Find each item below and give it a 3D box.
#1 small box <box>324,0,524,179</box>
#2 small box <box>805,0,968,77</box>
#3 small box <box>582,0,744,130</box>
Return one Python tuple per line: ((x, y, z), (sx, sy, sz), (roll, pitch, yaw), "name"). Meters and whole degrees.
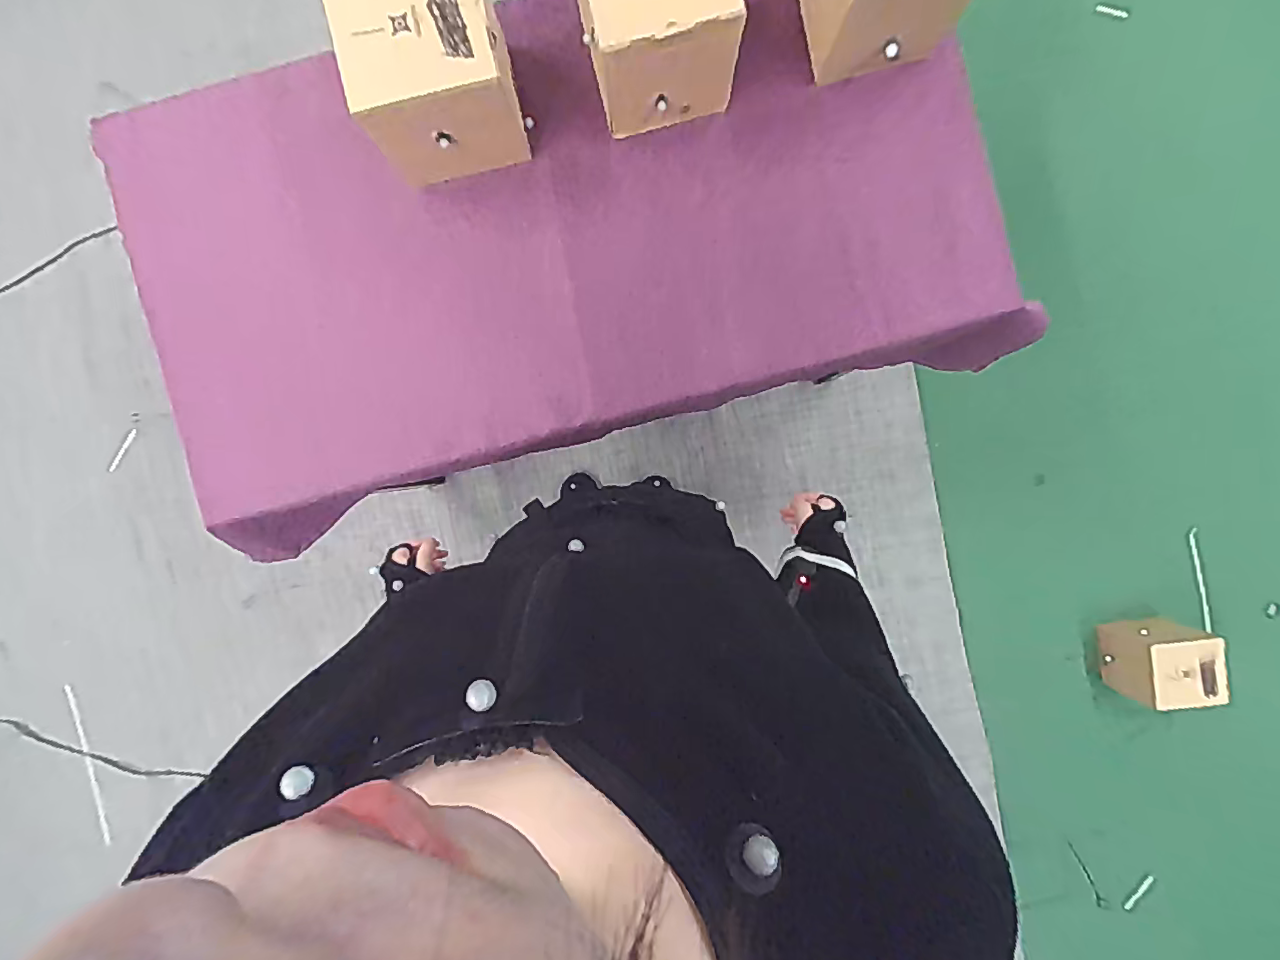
((-0.255, -0.514, 0.678), (0.179, 0.176, 0.168), (-12, 92, 3), "small box")
((0.300, -0.644, 0.654), (0.168, 0.176, 0.179), (-12, 95, 3), "small box")
((0.018, -0.584, 0.670), (0.168, 0.176, 0.179), (-14, 93, 2), "small box")
